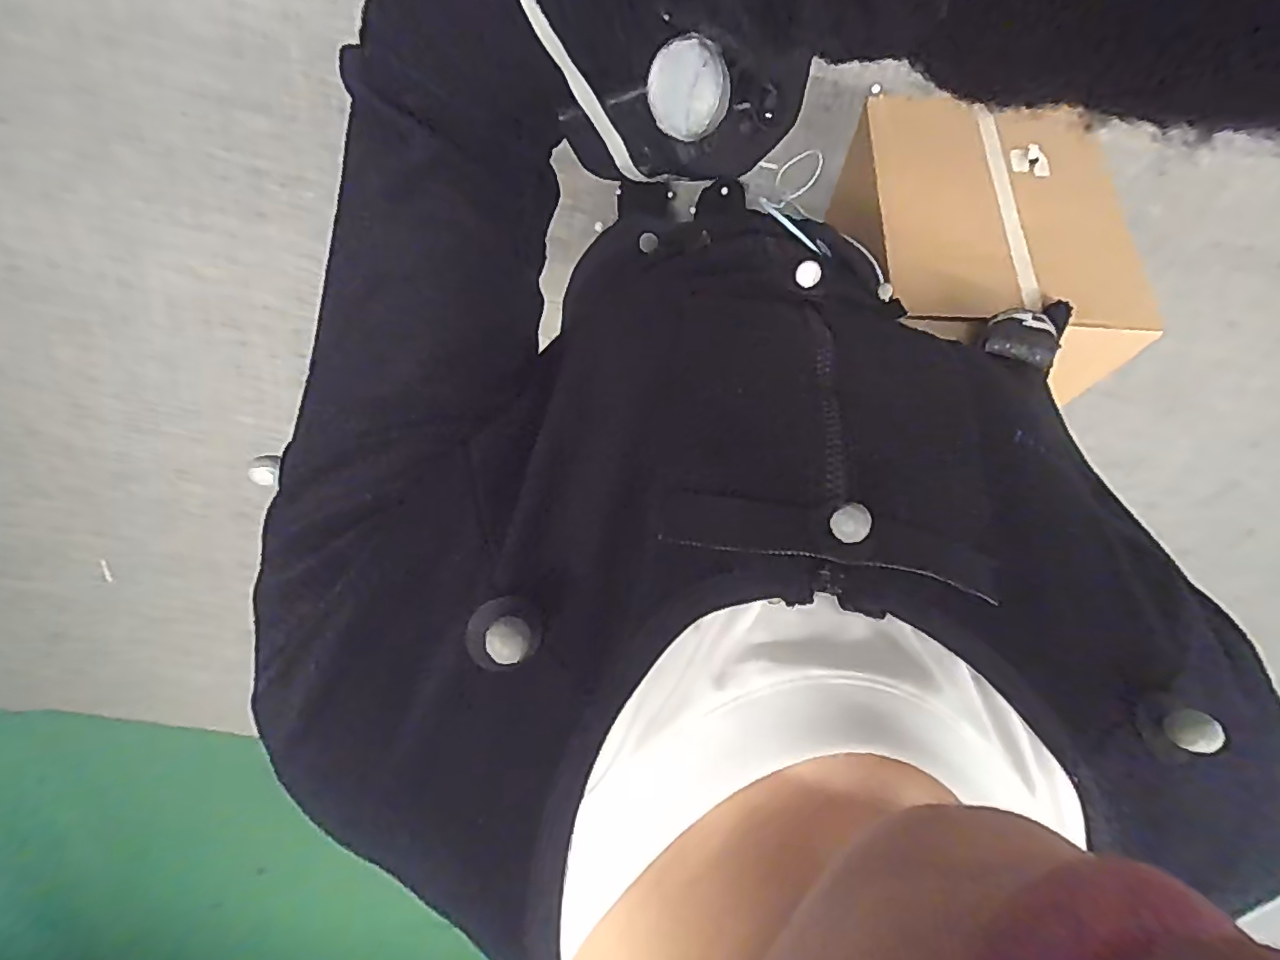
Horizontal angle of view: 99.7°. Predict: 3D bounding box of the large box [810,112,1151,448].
[{"bbox_3d":[0.472,-0.296,0.859,0.320,0.408,0.320,4,157,2],"label":"large box"}]
